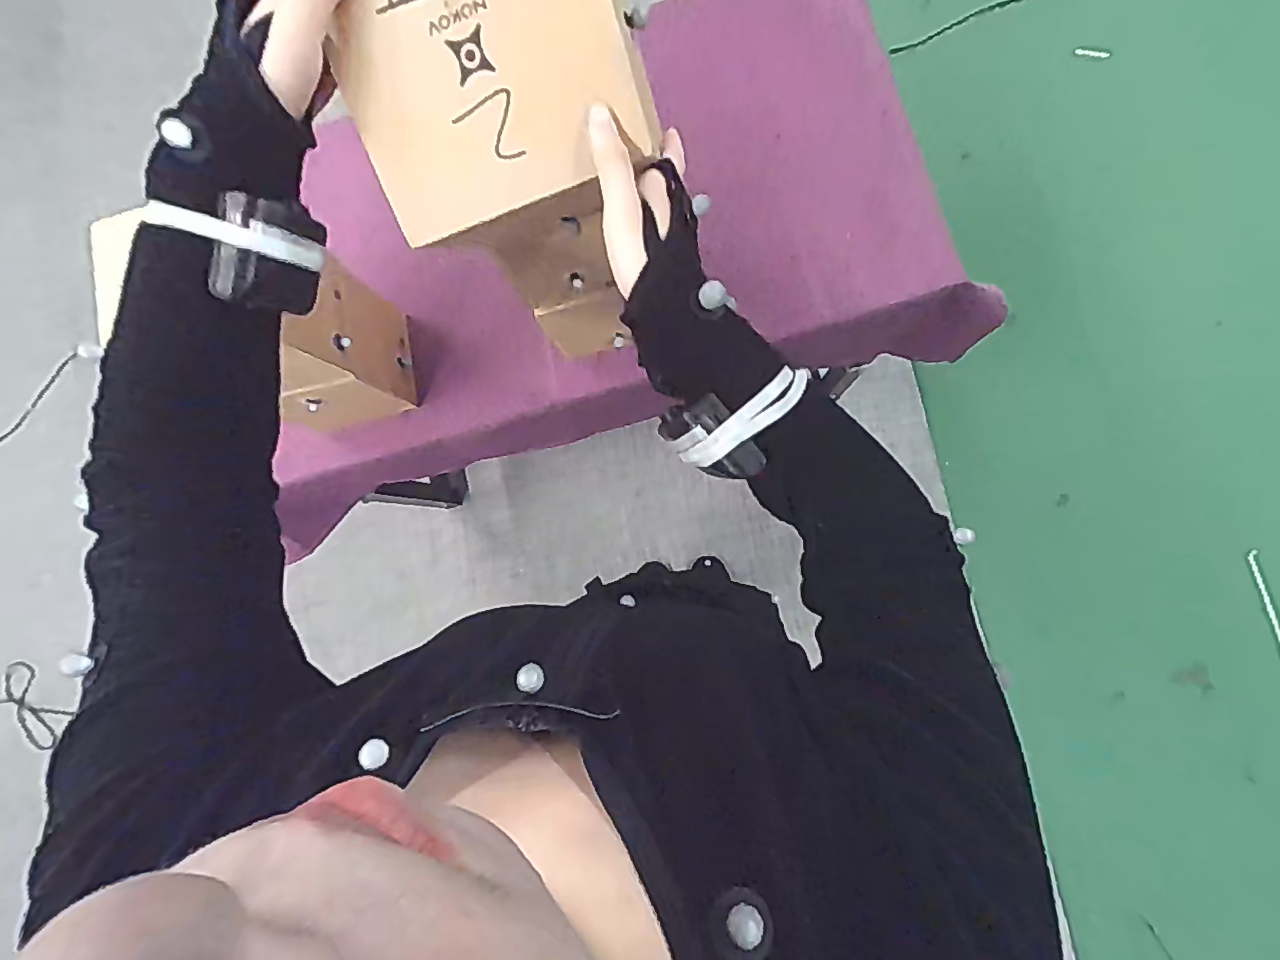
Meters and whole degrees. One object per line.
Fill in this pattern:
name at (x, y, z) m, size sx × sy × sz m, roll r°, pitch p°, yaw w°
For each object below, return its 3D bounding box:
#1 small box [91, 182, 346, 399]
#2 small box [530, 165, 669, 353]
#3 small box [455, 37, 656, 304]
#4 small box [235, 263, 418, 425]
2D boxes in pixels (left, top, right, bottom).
small box at (-0.478, -0.208, 0.641) m, size 0.179 × 0.176 × 0.168 m, roll -13°, pitch 83°, yaw 6°
small box at (-0.058, -0.299, 0.764) m, size 0.179 × 0.176 × 0.168 m, roll -13°, pitch 82°, yaw 5°
small box at (-0.082, -0.326, 0.605) m, size 0.168 × 0.176 × 0.179 m, roll -13°, pitch 84°, yaw 6°
small box at (-0.463, -0.189, 0.804) m, size 0.179 × 0.176 × 0.168 m, roll -12°, pitch 83°, yaw 5°
